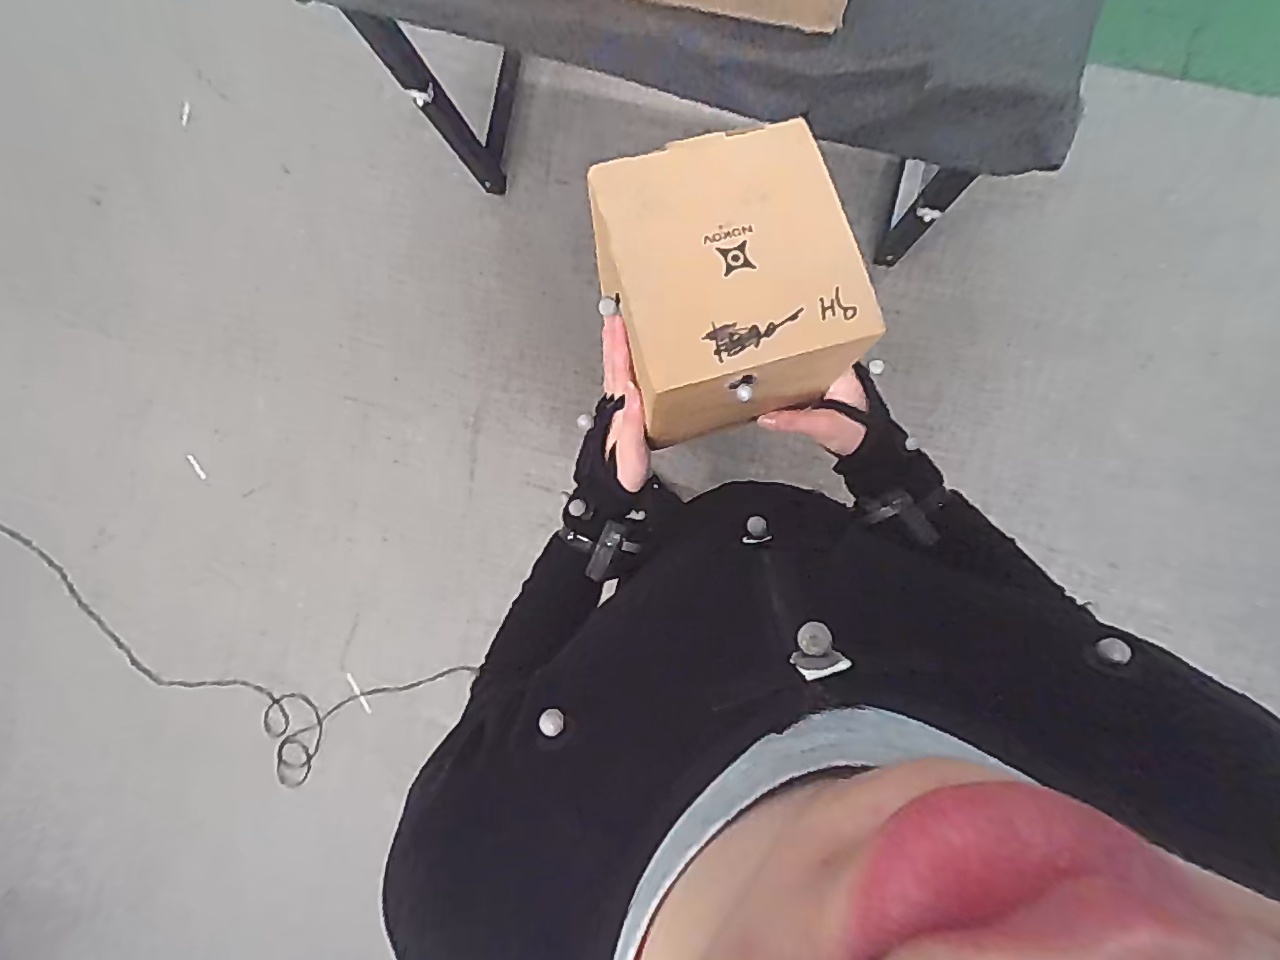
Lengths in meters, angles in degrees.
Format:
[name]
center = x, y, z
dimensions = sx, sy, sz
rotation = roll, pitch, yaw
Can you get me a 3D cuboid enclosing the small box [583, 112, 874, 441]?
[small box]
center = 0.057, -0.151, 0.450
dimensions = 0.168, 0.176, 0.179
rotation = -15, 80, -2
